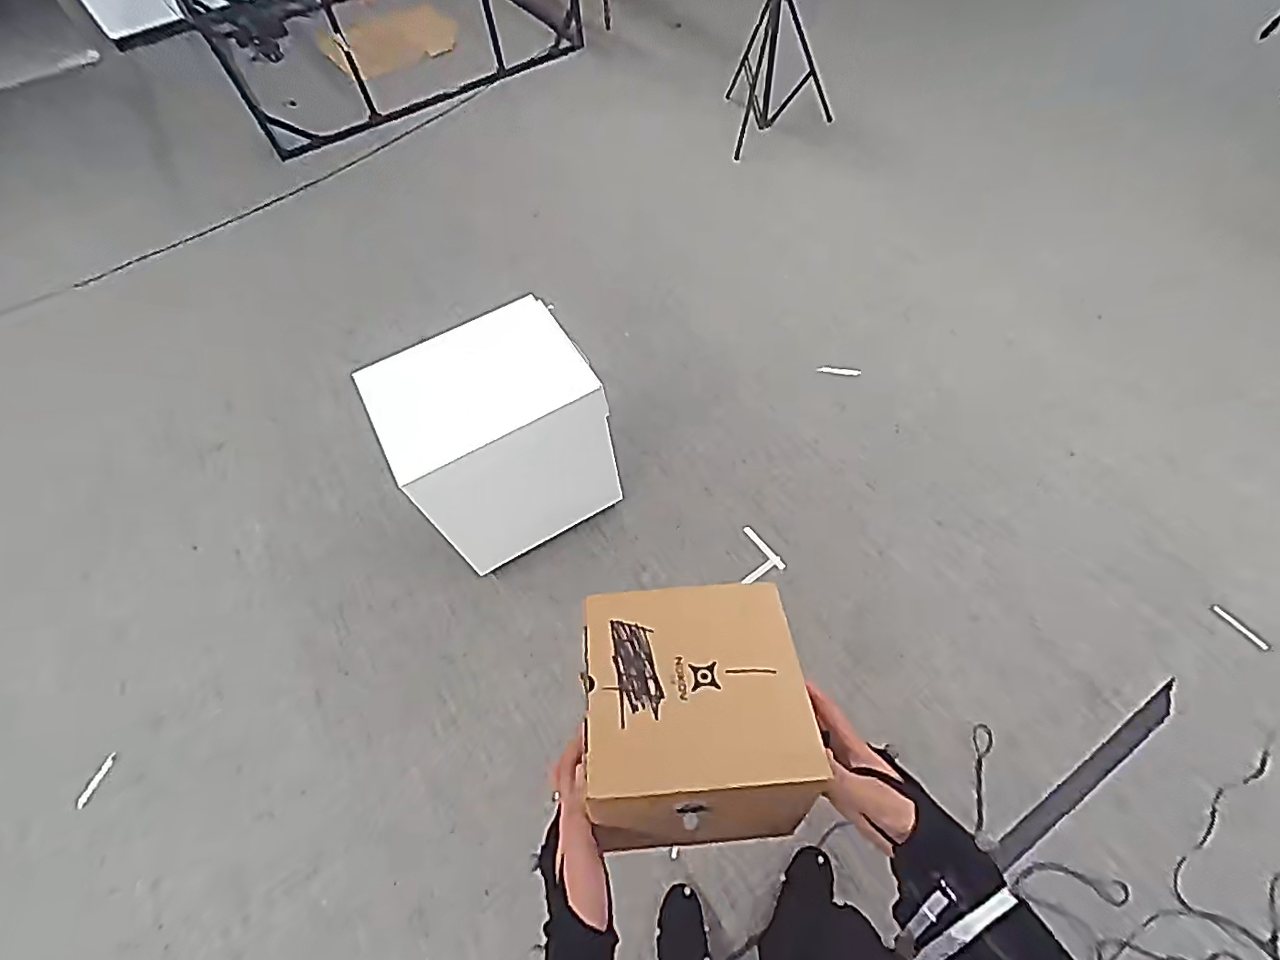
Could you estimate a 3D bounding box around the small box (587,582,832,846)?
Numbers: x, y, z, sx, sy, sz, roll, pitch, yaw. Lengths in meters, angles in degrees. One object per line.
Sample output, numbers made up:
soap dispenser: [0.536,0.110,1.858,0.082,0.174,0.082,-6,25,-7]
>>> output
small box: [0.047,0.212,0.488,0.179,0.176,0.168,-4,45,-2]
